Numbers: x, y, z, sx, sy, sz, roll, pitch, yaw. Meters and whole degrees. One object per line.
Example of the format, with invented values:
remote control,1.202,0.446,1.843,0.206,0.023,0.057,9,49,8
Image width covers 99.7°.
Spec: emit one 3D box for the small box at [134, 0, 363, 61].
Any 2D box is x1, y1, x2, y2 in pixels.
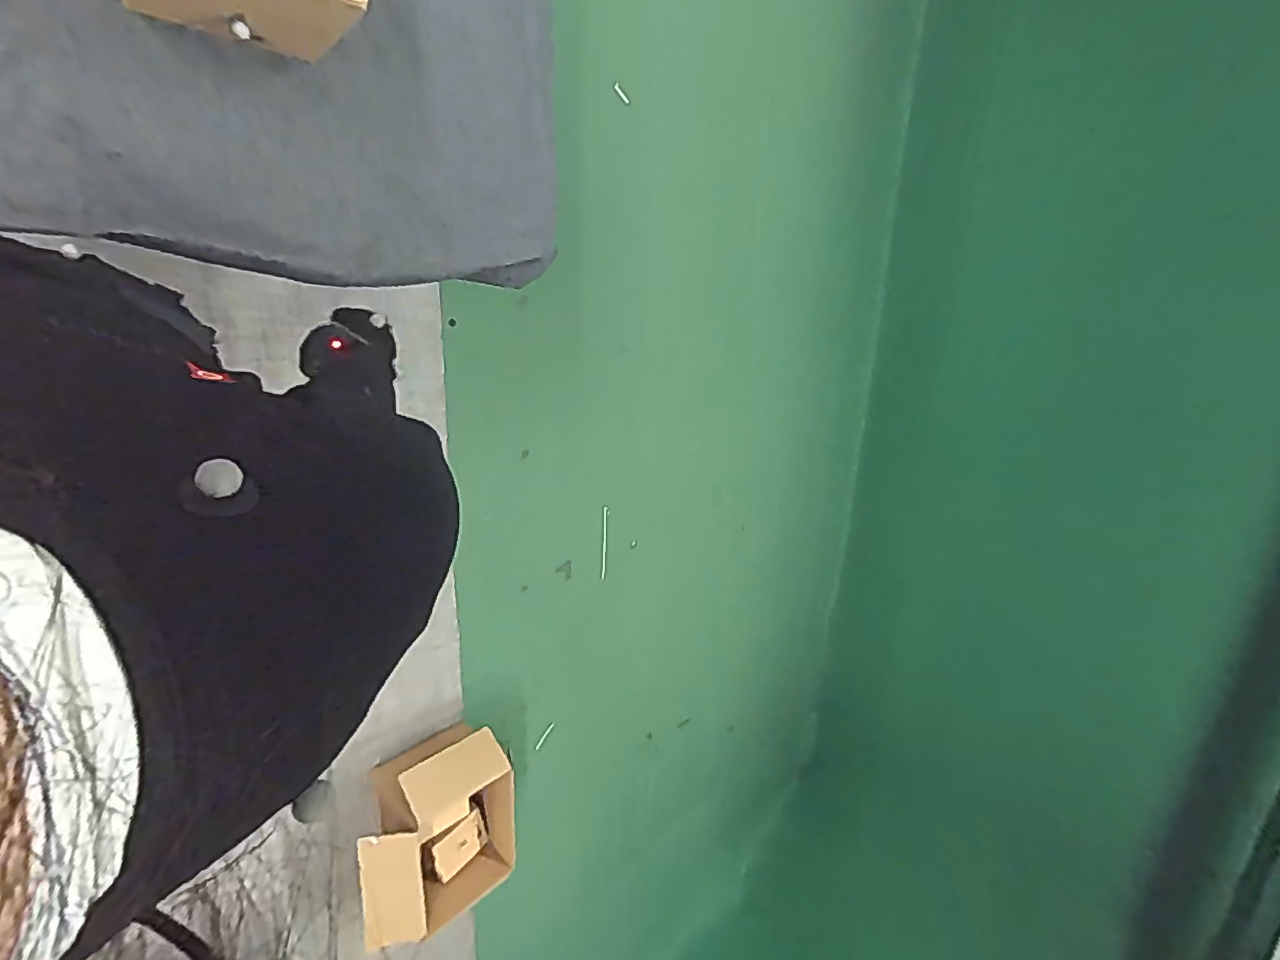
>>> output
small box,-0.382,-0.535,0.497,0.168,0.176,0.179,-16,113,-43
